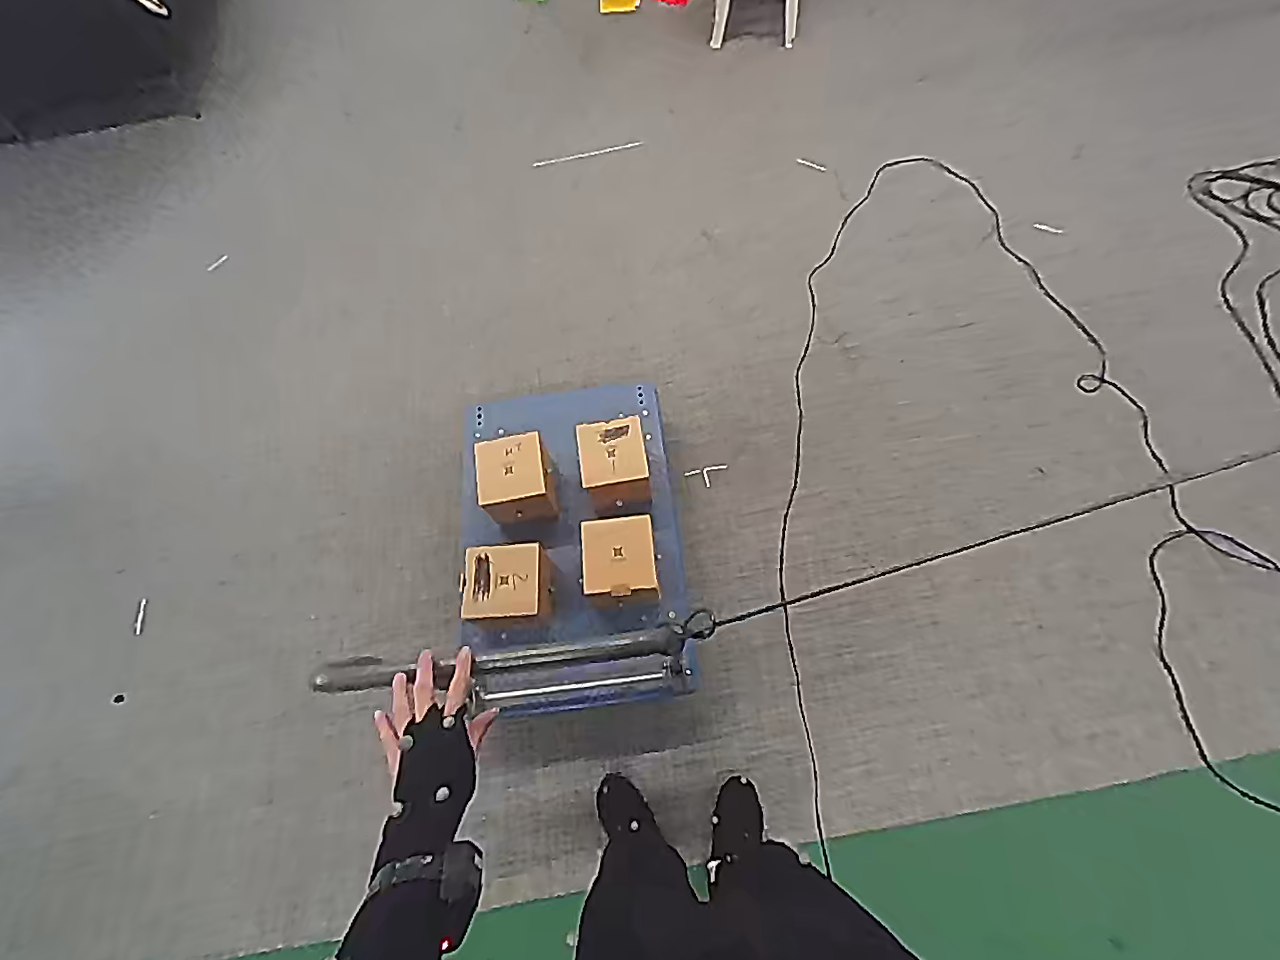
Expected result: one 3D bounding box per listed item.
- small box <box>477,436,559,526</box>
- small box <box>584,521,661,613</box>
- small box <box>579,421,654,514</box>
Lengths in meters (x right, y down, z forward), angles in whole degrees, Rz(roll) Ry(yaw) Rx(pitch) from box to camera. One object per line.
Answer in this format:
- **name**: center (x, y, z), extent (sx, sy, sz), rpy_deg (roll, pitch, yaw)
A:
- **small box**: center (-0.312, 0.012, 1.403), extent (0.168, 0.176, 0.179), rpy_deg (-10, 67, -1)
- **small box**: center (-0.040, 0.212, 1.299), extent (0.168, 0.176, 0.179), rpy_deg (-6, 67, 2)
- **small box**: center (-0.058, -0.029, 1.402), extent (0.168, 0.176, 0.179), rpy_deg (-9, 67, 1)
